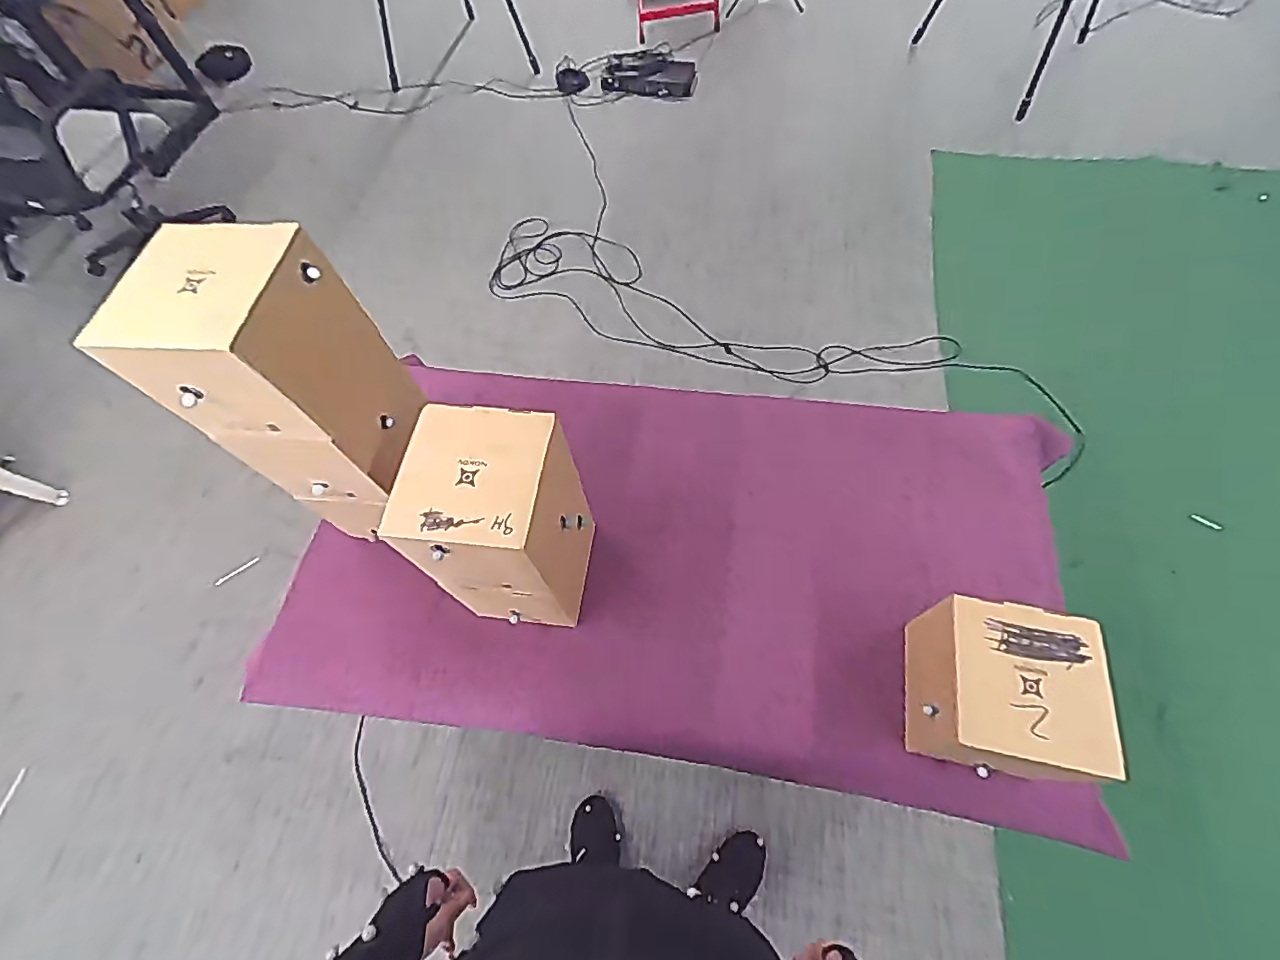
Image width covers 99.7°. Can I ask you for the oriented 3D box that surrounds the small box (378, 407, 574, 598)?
[{"bbox_3d":[-0.185,0.032,0.679,0.168,0.176,0.179,5,61,7],"label":"small box"}]

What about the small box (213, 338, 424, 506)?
[{"bbox_3d":[-0.427,-0.081,0.759,0.168,0.176,0.179,4,63,7],"label":"small box"}]

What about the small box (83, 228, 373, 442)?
[{"bbox_3d":[-0.439,-0.157,0.616,0.168,0.176,0.179,3,62,7],"label":"small box"}]

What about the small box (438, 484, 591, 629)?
[{"bbox_3d":[-0.175,0.112,0.822,0.168,0.176,0.179,5,63,7],"label":"small box"}]

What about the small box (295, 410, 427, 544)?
[{"bbox_3d":[-0.418,-0.004,0.902,0.168,0.176,0.179,4,63,7],"label":"small box"}]
